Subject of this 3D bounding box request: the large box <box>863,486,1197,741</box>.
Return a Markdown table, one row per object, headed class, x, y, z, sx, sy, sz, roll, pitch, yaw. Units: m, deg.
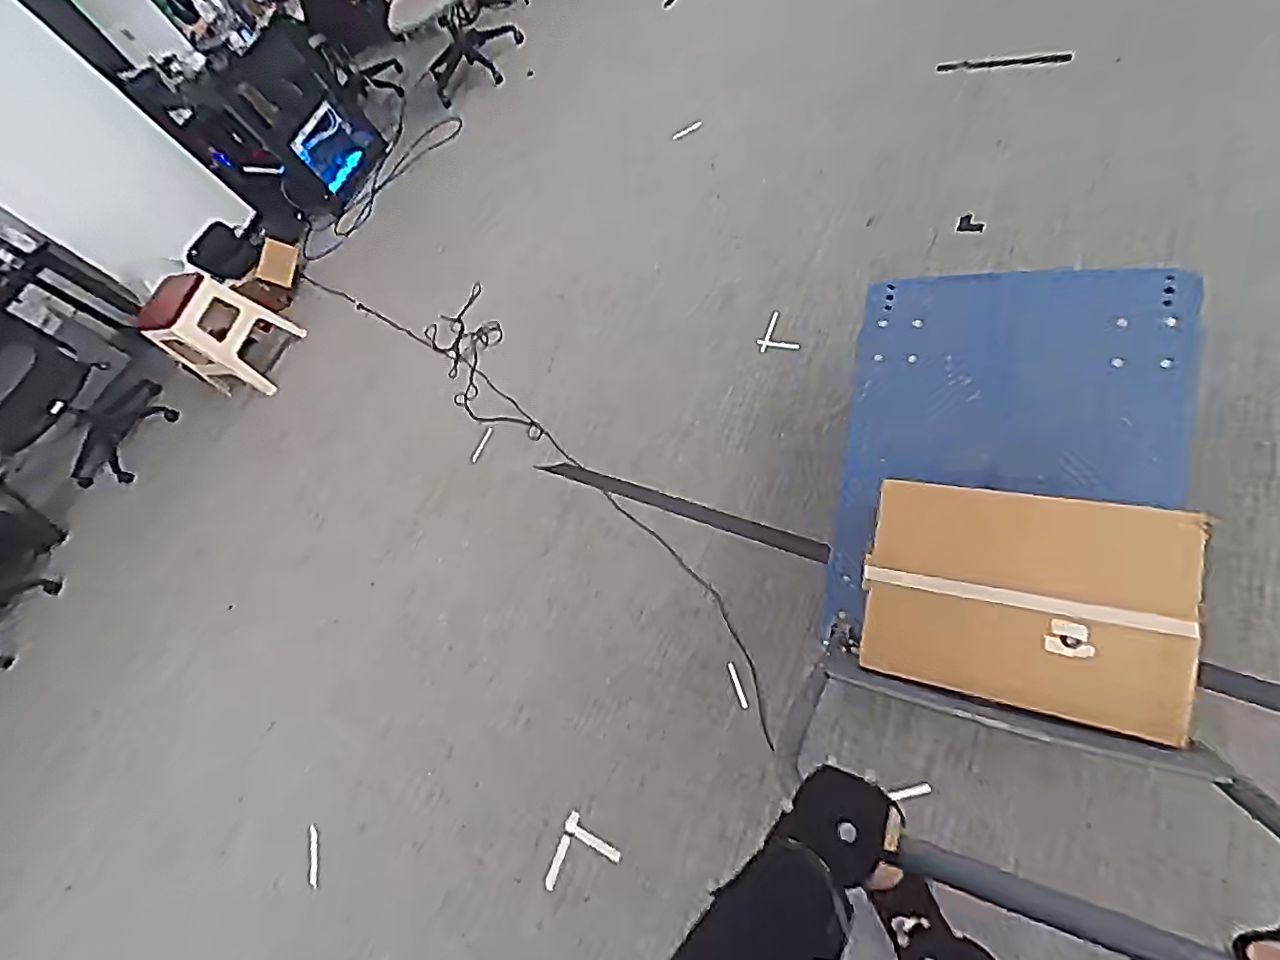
| class | x | y | z | sx | sy | sz | roll | pitch | yaw |
| --- | --- | --- | --- | --- | --- | --- | --- | --- | --- |
| large box | 0.627 | 0.202 | 0.952 | 0.408 | 0.320 | 0.320 | 8 | 86 | 26 |
